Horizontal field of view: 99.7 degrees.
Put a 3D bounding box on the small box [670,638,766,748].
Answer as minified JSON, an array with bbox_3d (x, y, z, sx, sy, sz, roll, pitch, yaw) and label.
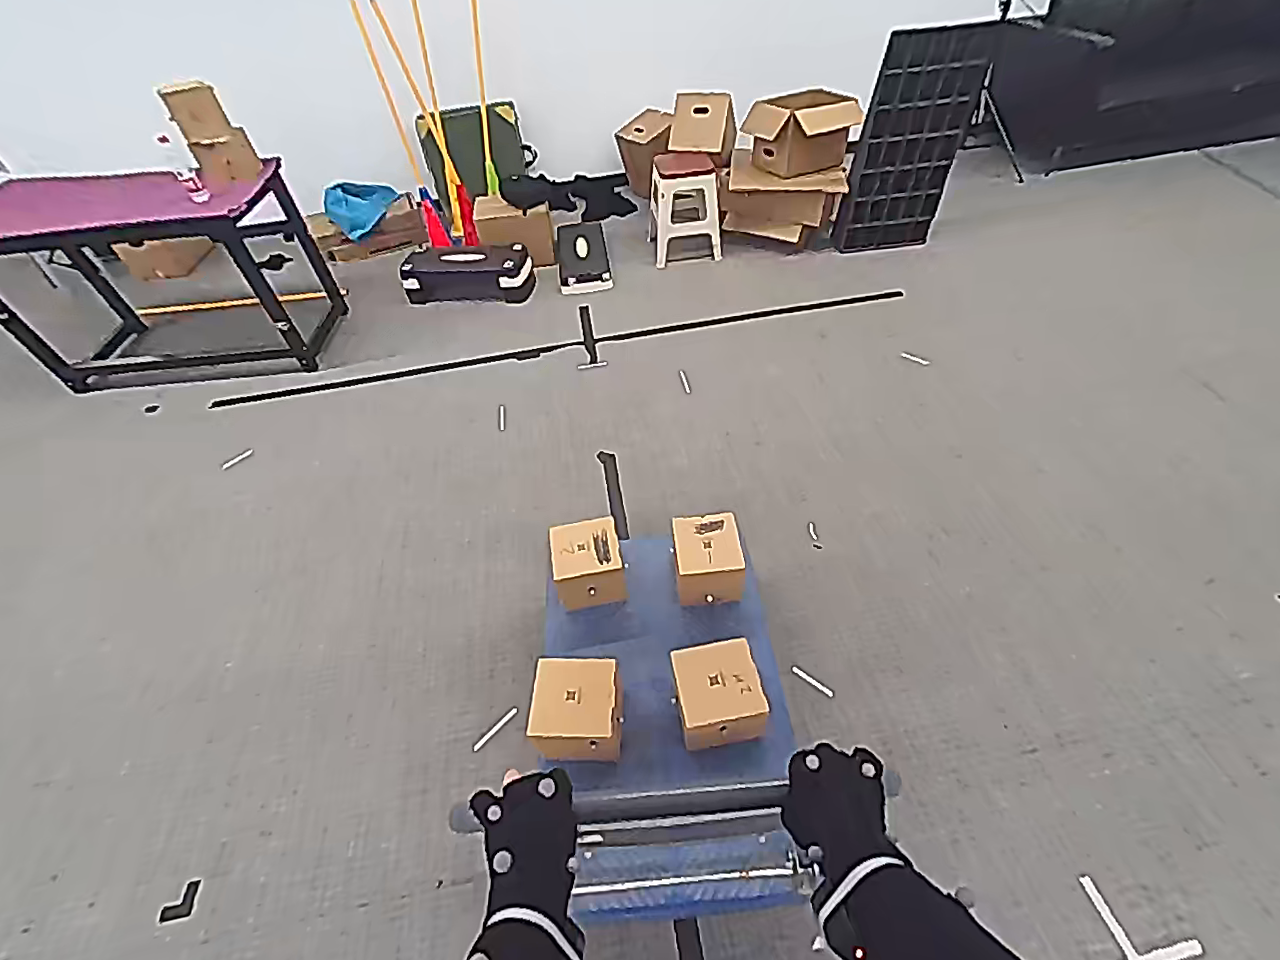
[{"bbox_3d":[0.170,0.478,1.208,0.179,0.176,0.168,-10,48,-3],"label":"small box"}]

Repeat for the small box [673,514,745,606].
[{"bbox_3d":[0.176,0.214,1.442,0.168,0.176,0.179,-6,49,0],"label":"small box"}]

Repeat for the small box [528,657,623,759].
[{"bbox_3d":[-0.135,0.511,1.208,0.179,0.176,0.168,-1,48,3],"label":"small box"}]
